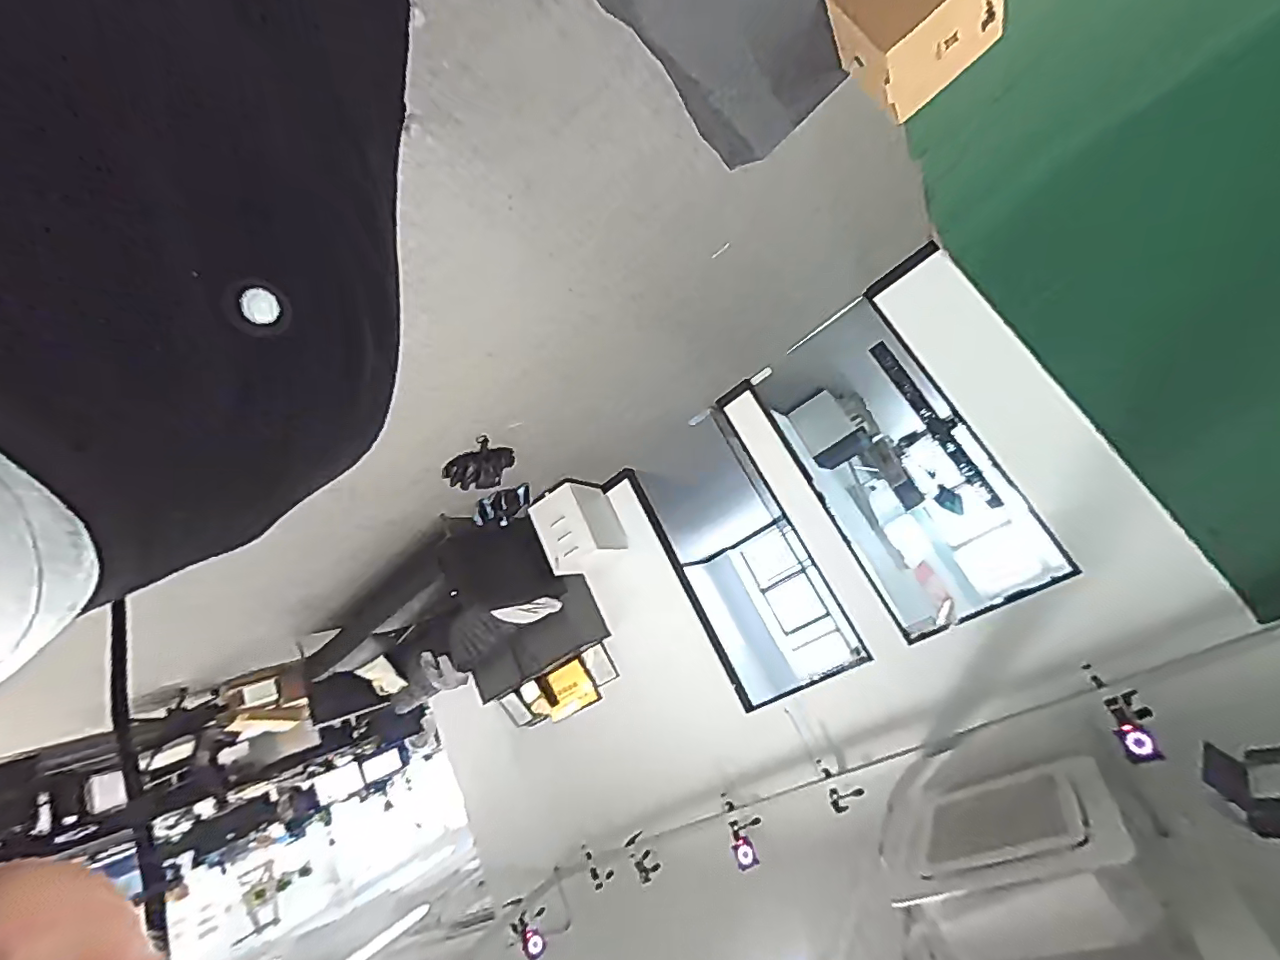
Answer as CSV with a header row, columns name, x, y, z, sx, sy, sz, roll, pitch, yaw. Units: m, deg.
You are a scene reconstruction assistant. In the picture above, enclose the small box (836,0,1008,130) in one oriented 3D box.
name,x,y,z,sx,sy,sz,roll,pitch,yaw
small box,0.423,-0.702,0.827,0.179,0.176,0.168,-36,159,24
